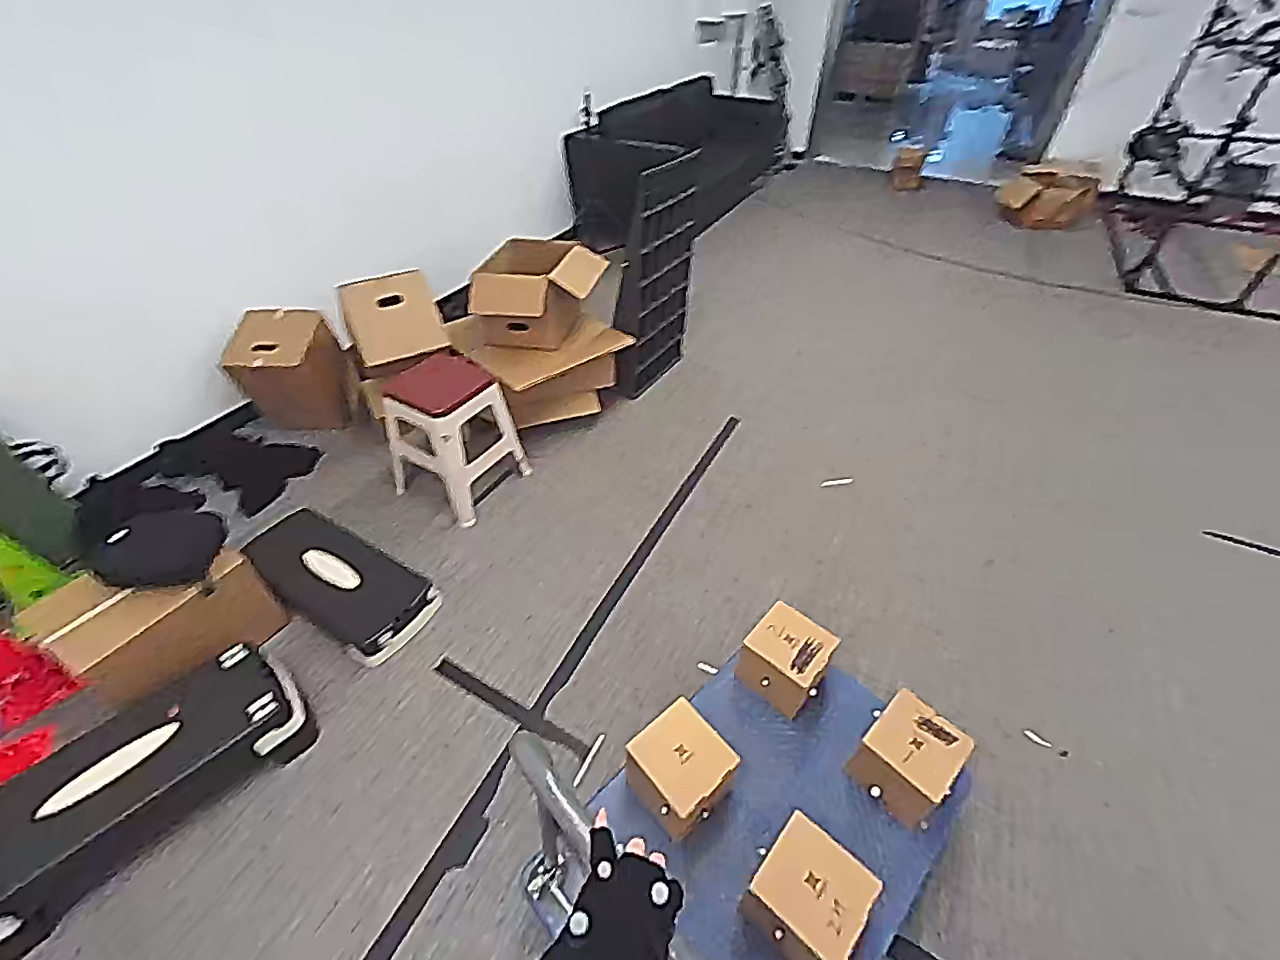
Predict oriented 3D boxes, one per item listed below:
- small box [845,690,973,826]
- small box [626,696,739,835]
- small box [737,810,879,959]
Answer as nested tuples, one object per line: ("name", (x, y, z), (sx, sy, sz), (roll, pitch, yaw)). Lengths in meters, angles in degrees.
("small box", (0.574, 0.604, 1.176), (0.179, 0.176, 0.168), (-32, 52, -29))
("small box", (0.081, 0.610, 1.153), (0.168, 0.176, 0.179), (-29, 53, -30))
("small box", (0.298, 0.763, 0.995), (0.179, 0.176, 0.168), (33, 51, 29))
